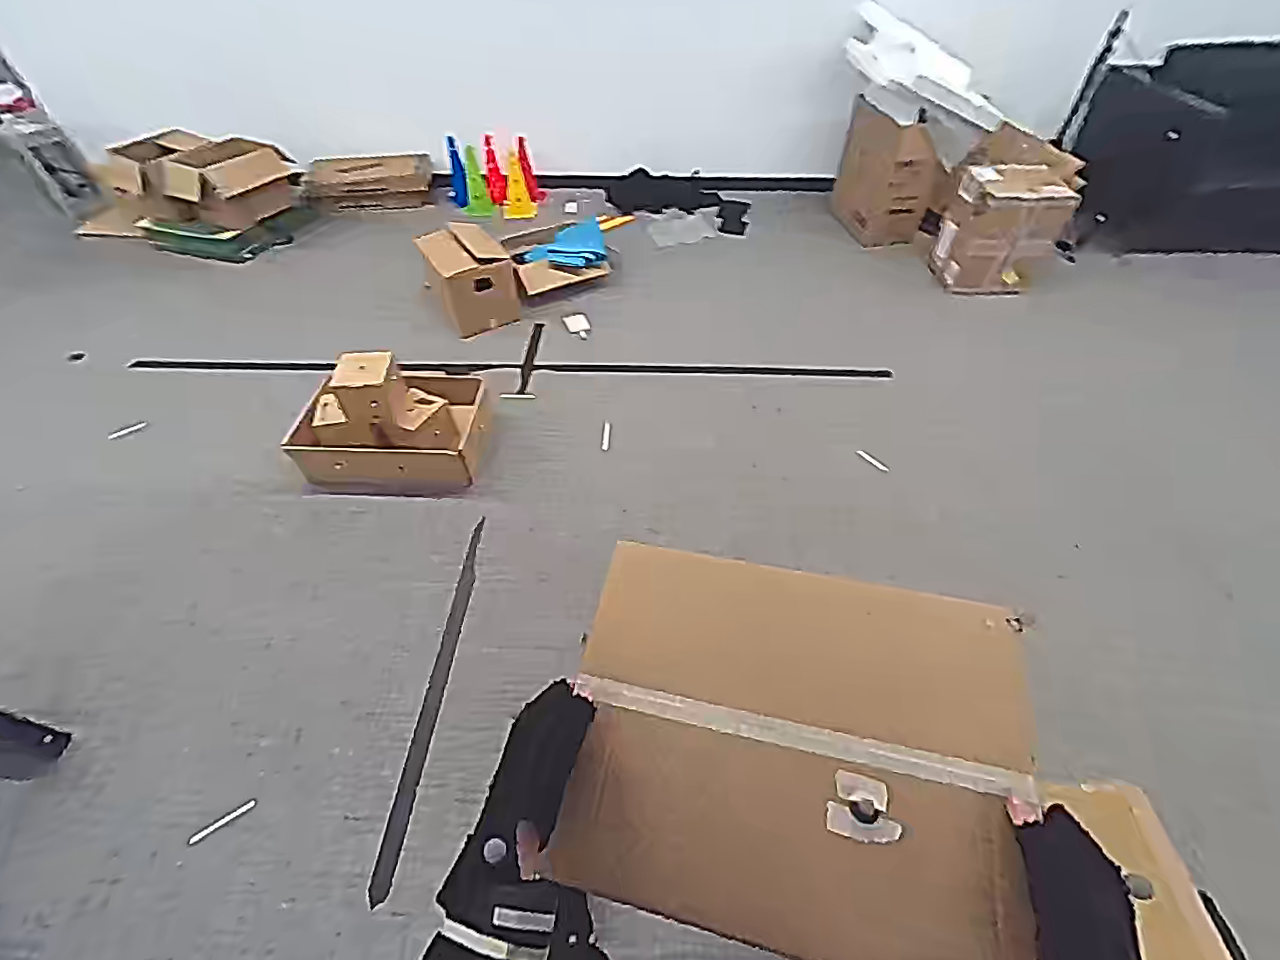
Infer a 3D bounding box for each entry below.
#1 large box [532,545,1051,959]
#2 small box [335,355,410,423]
[{"bbox_3d":[0.143,0.299,0.615,0.408,0.320,0.320,8,61,12],"label":"large box"},{"bbox_3d":[-0.907,-0.307,1.849,0.168,0.176,0.179,-3,48,-4],"label":"small box"}]
